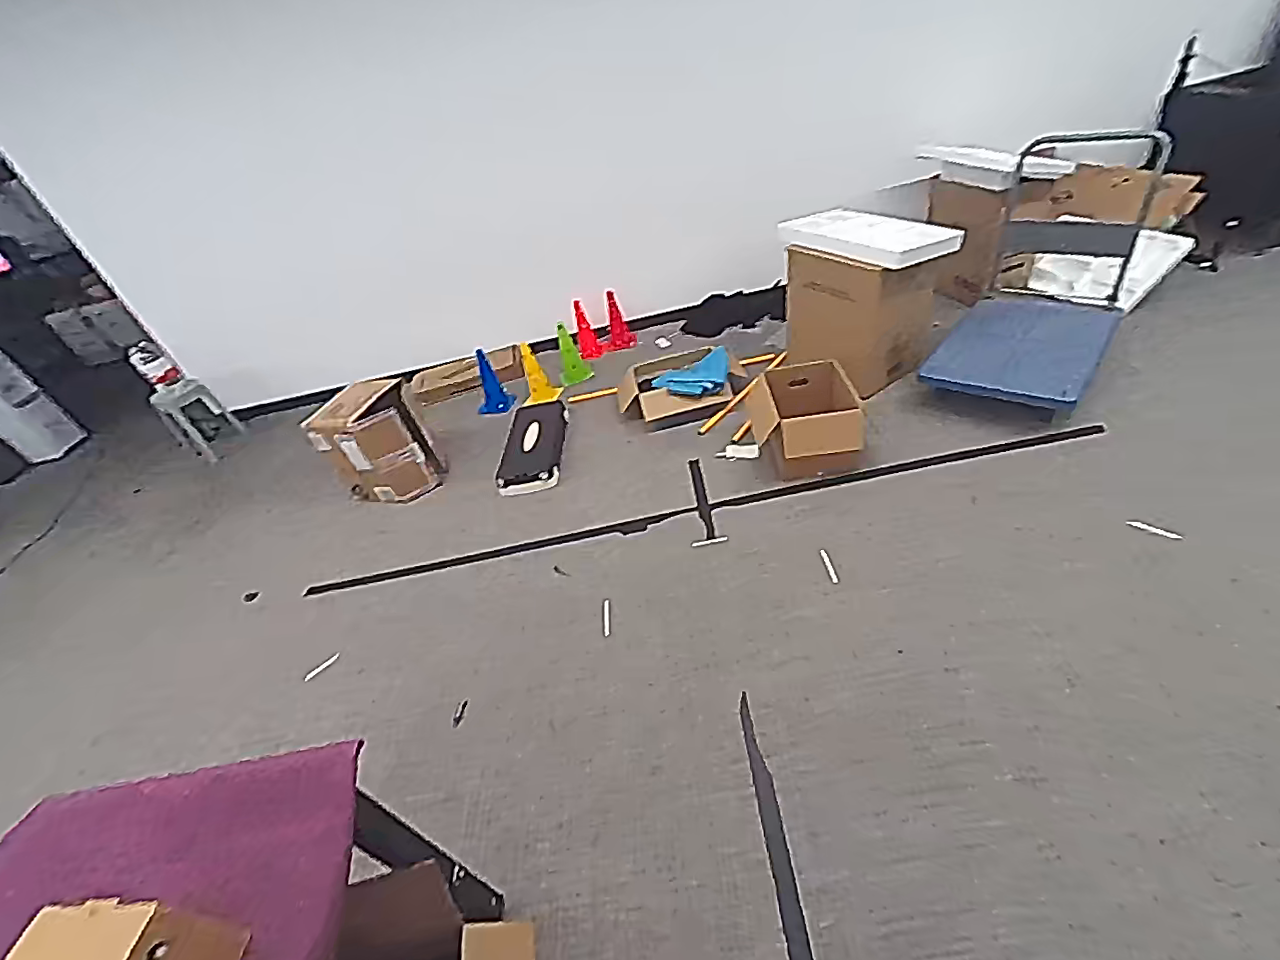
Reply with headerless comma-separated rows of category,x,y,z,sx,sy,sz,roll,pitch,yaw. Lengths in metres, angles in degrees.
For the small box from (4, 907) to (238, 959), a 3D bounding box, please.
small box,-0.612,0.611,0.607,0.168,0.176,0.179,-9,38,8
